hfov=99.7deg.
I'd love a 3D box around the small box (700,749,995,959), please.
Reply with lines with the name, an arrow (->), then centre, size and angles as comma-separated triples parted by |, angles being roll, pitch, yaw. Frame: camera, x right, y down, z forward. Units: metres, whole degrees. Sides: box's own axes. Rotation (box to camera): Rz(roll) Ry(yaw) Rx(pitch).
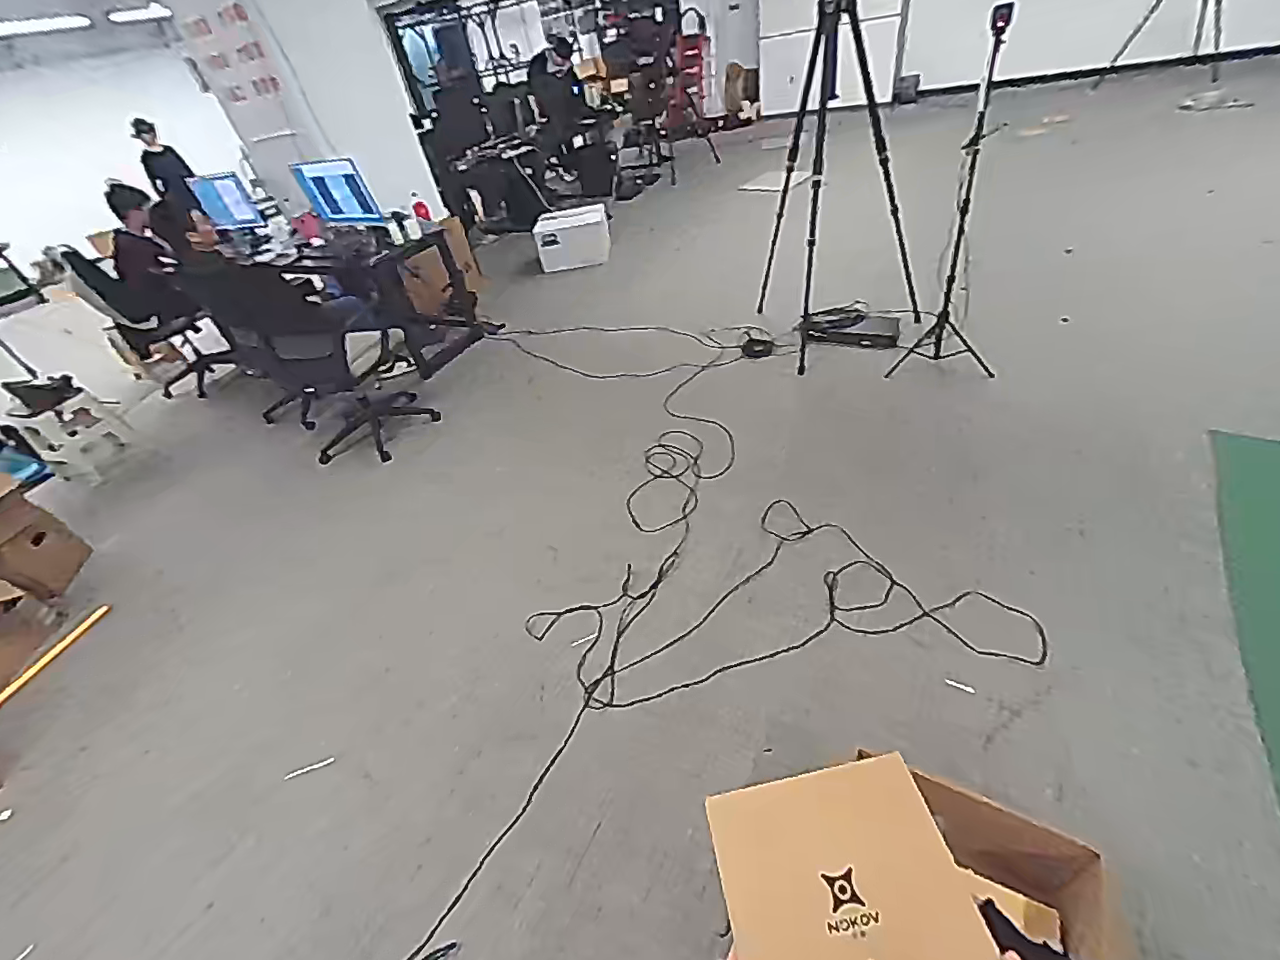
small box -> 0.152, 0.348, 0.424 | 0.168, 0.176, 0.179 | -15, 41, 2
